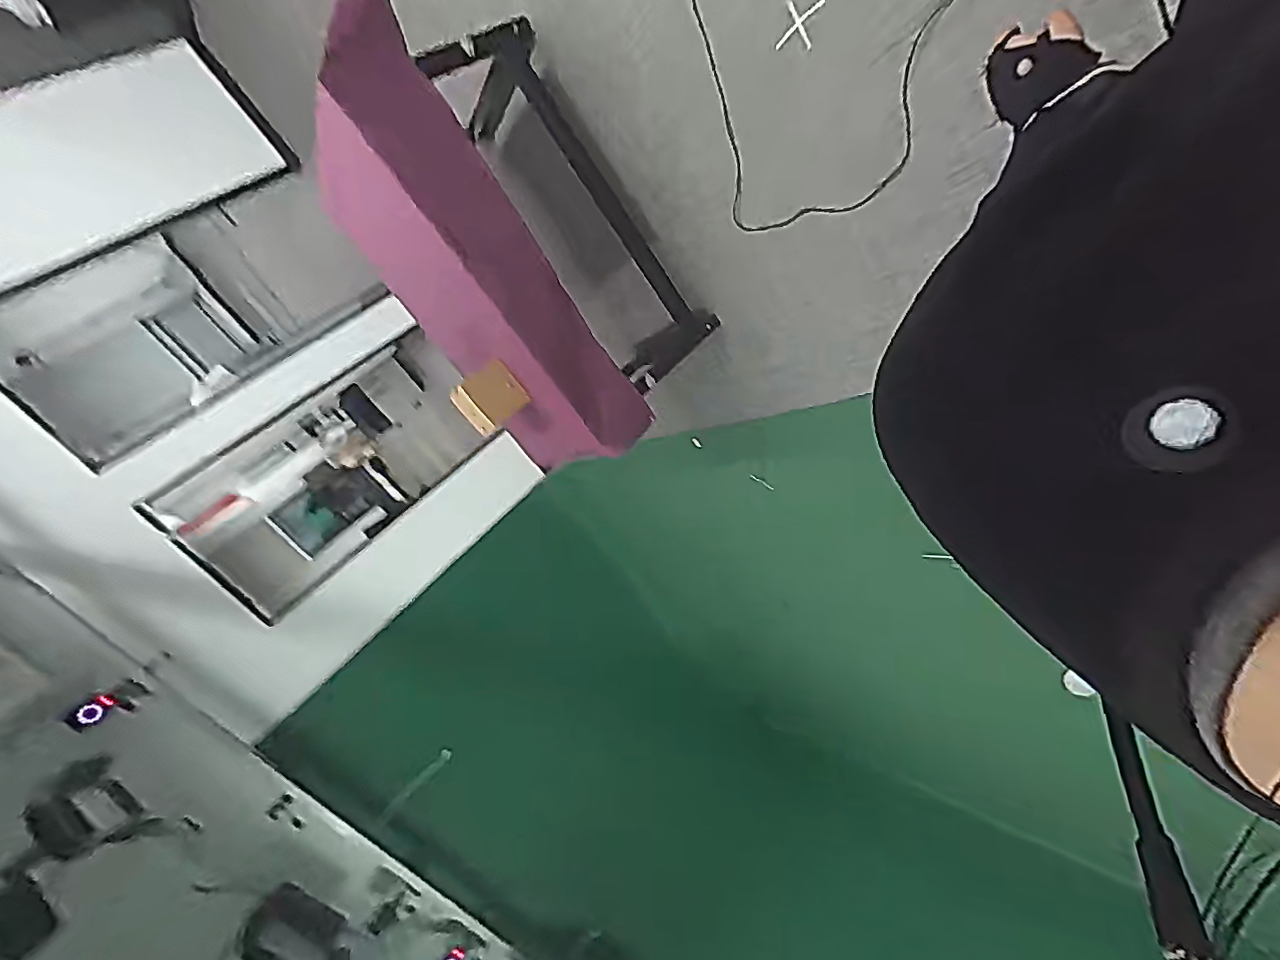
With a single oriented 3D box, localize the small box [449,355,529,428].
[{"bbox_3d":[-0.517,-0.308,1.853,0.179,0.176,0.168,52,153,-16],"label":"small box"}]
